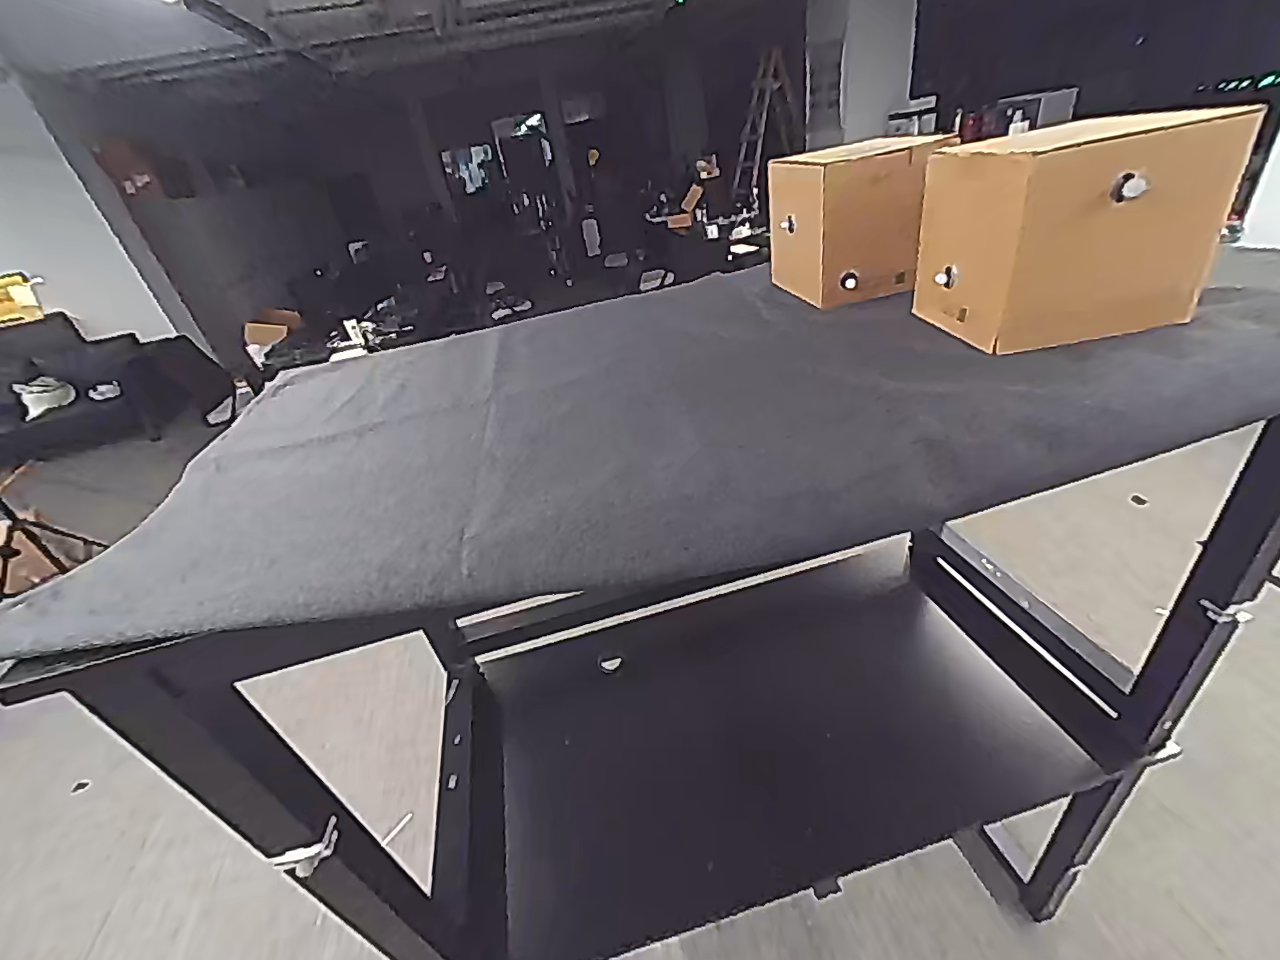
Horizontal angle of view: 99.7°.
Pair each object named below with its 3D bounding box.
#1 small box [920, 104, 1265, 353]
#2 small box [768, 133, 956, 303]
[{"bbox_3d":[0.395,-0.237,0.517,0.179,0.176,0.168,-10,31,4],"label":"small box"},{"bbox_3d":[0.284,-0.347,0.723,0.168,0.176,0.179,-13,32,-3],"label":"small box"}]
